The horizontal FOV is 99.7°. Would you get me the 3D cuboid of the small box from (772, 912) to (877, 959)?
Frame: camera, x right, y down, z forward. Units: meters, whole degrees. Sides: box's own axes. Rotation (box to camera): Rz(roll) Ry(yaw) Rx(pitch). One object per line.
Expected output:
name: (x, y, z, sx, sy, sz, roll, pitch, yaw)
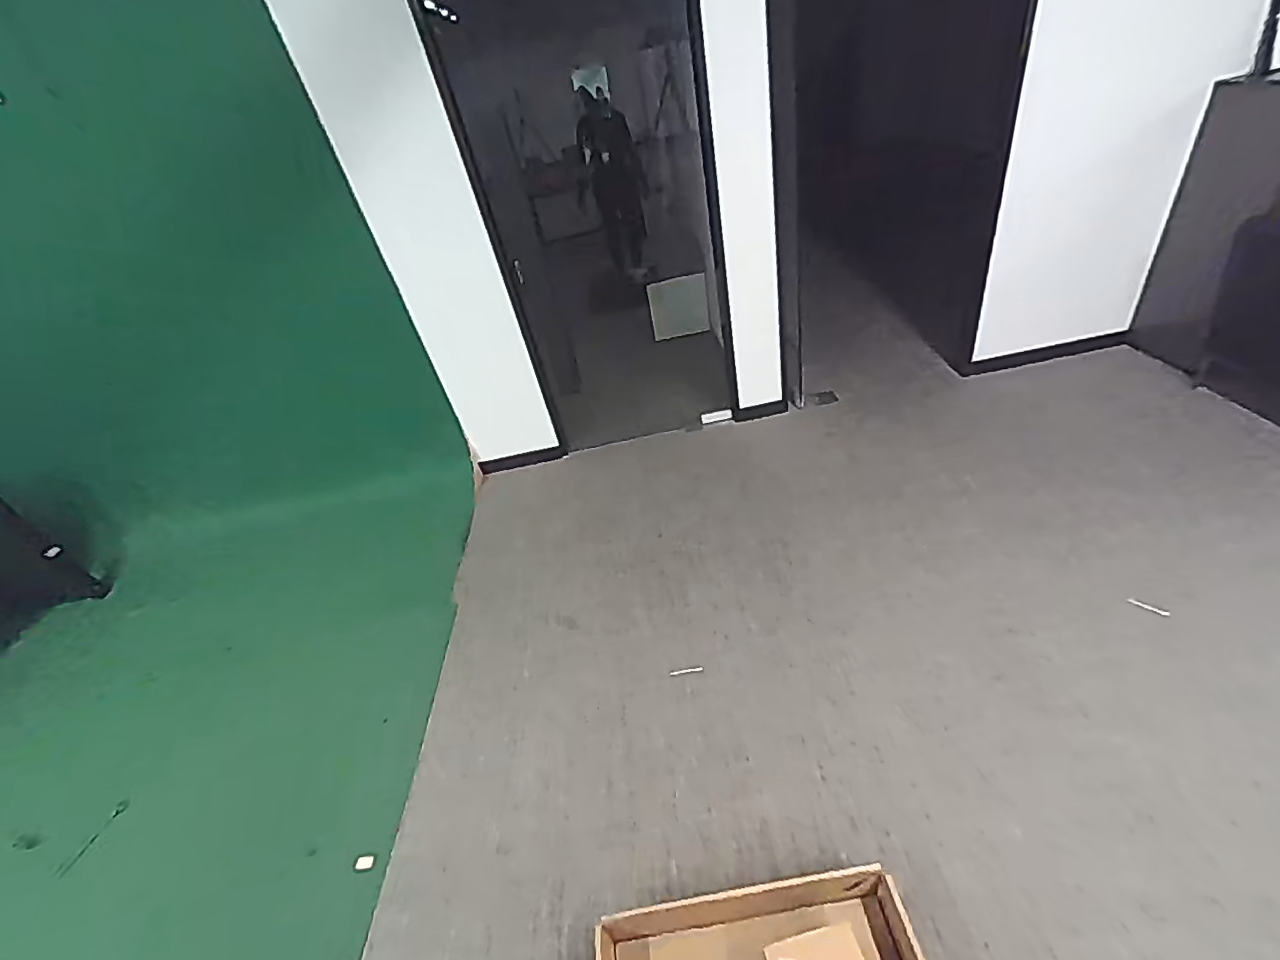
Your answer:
small box: (0.366, 0.962, 1.020, 0.179, 0.176, 0.168, -17, 37, -2)
